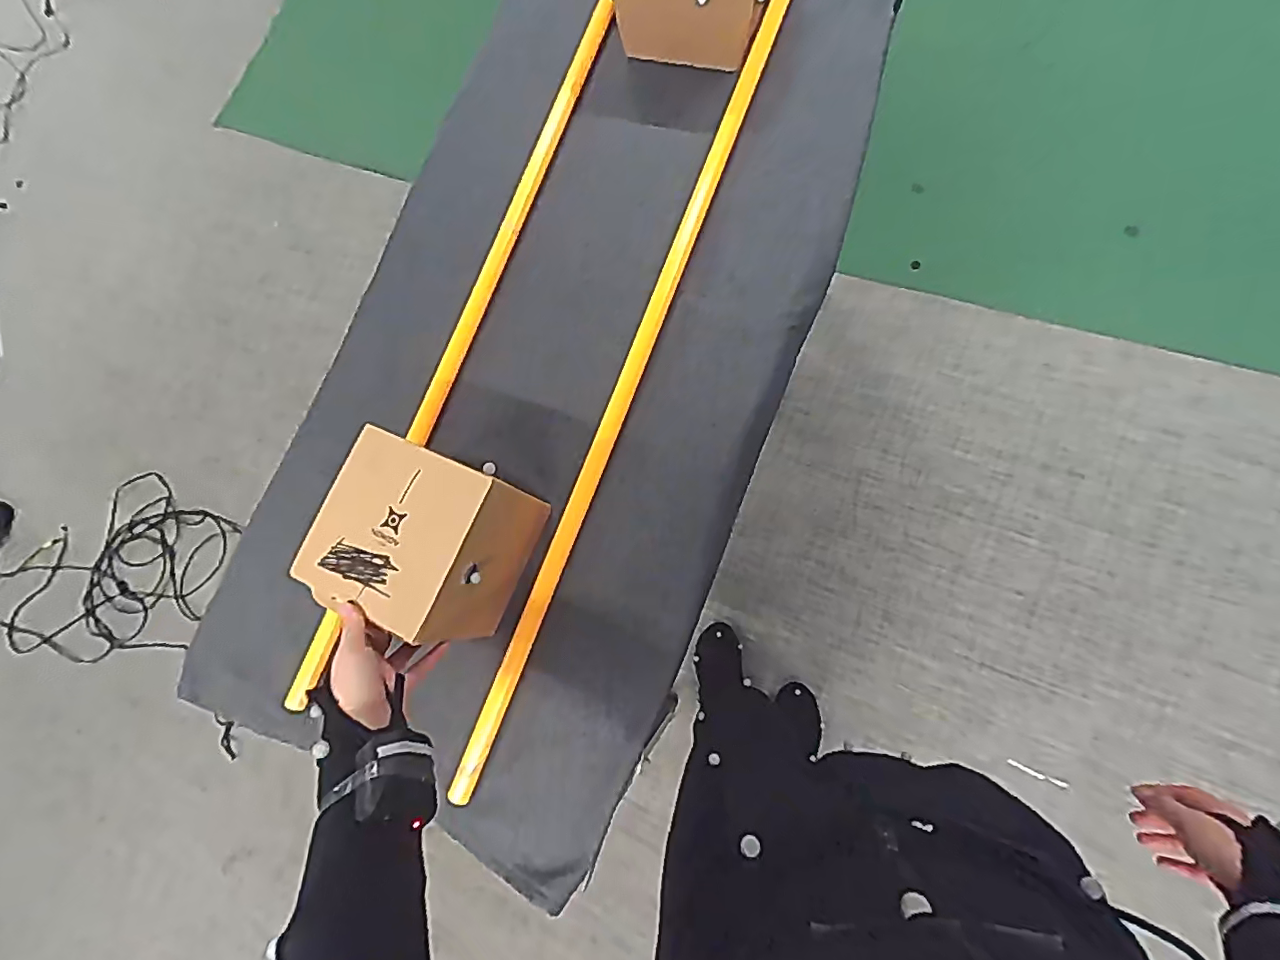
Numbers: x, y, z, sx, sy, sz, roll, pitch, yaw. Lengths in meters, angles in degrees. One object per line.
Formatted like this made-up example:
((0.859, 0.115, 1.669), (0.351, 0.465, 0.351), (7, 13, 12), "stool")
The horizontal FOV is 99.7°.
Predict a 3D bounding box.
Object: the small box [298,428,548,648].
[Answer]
((-0.227, 0.069, 0.615), (0.168, 0.176, 0.179), (22, 82, 15), "small box")
